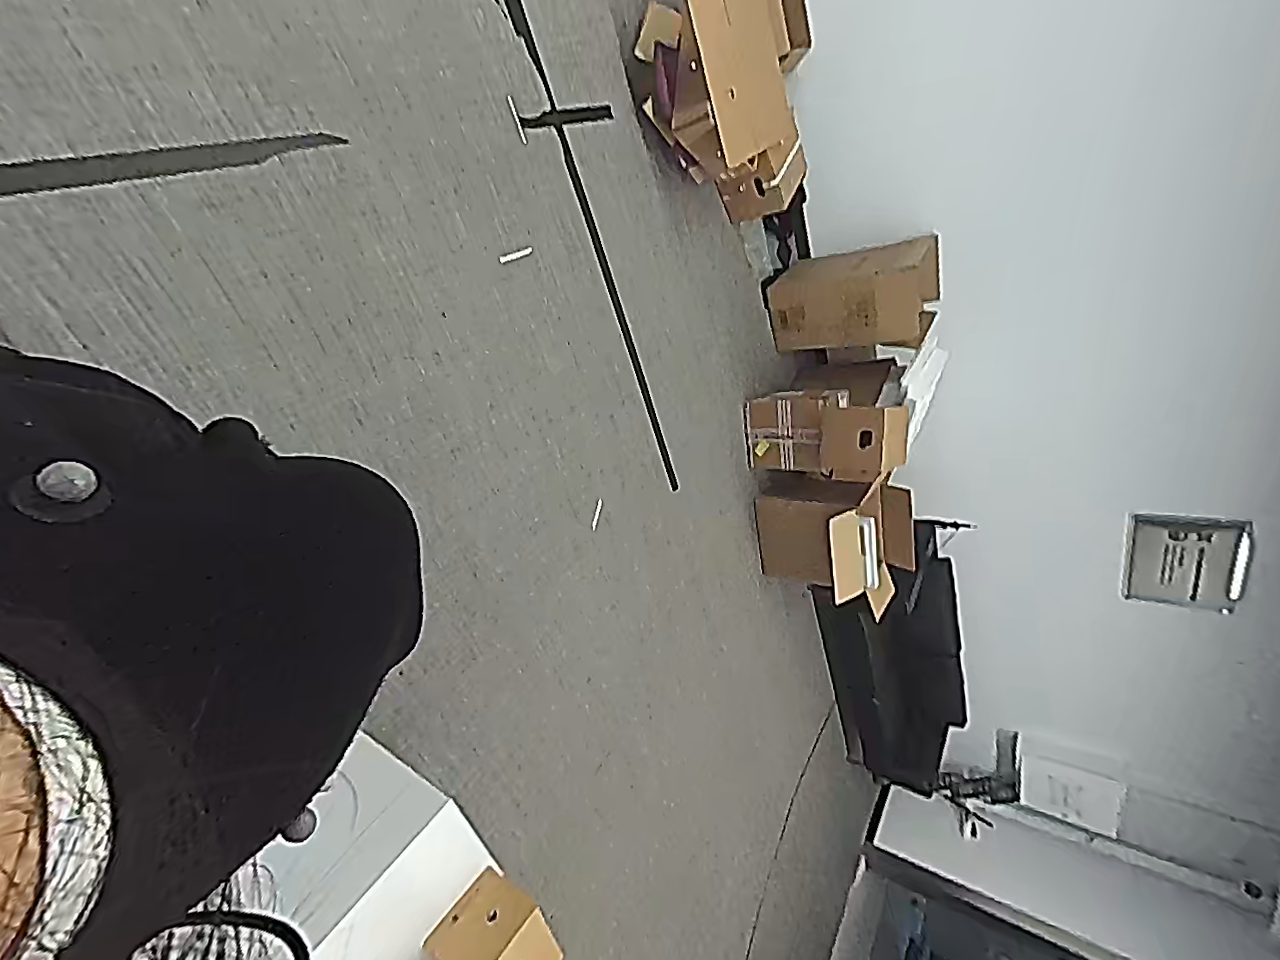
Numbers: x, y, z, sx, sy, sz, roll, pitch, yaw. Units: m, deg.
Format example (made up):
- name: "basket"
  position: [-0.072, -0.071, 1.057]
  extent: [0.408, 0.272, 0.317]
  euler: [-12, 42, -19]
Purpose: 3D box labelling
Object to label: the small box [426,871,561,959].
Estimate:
- name: "small box"
  position: [-0.293, 0.932, 1.079]
  extent: [0.168, 0.176, 0.179]
  euler: [-37, 121, -43]
